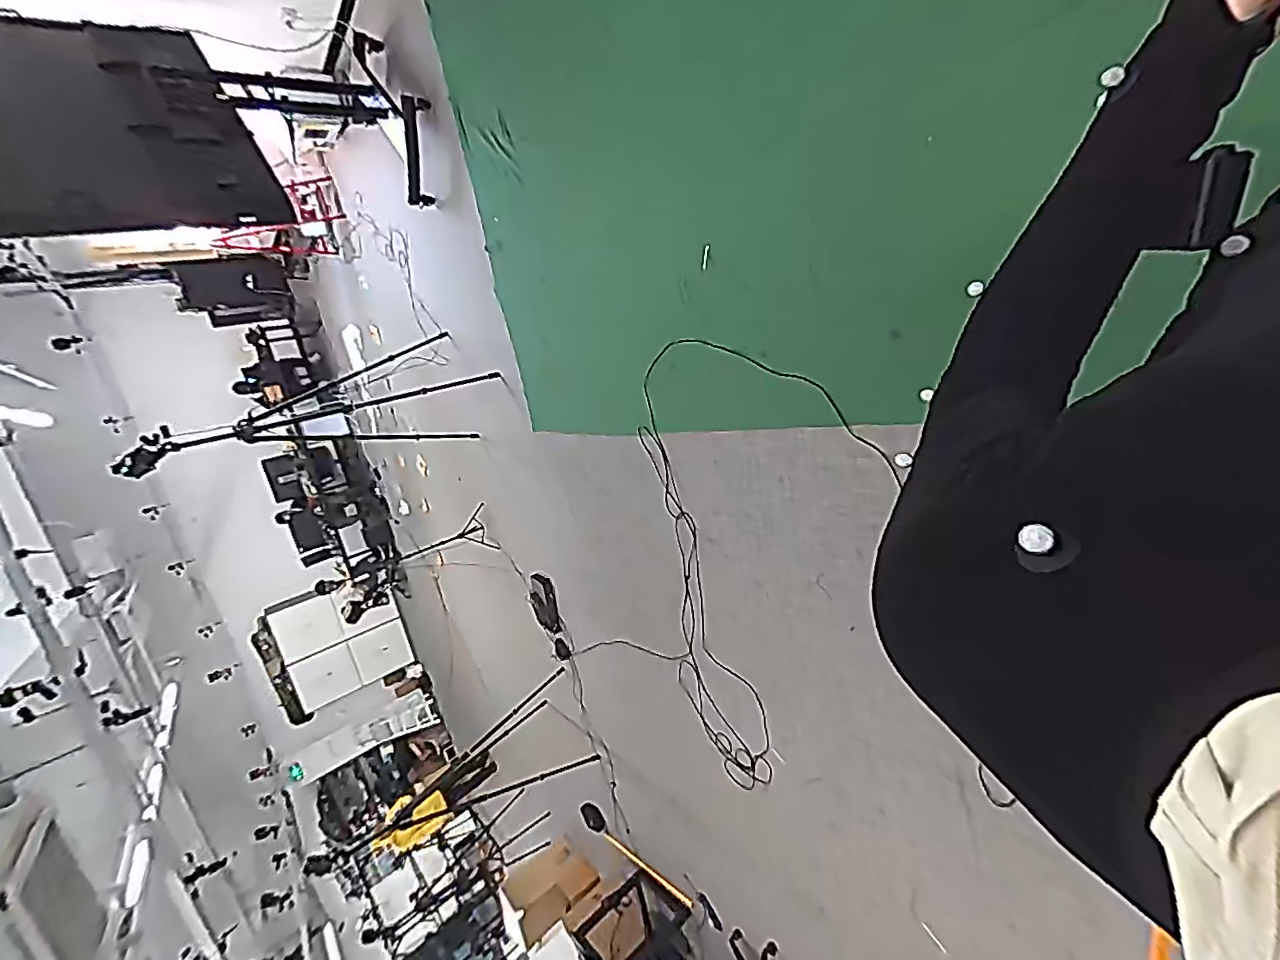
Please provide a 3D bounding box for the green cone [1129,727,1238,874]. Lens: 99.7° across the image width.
[{"bbox_3d":[1.278,0.809,1.310,0.202,0.368,0.200,5,111,52],"label":"green cone"}]
